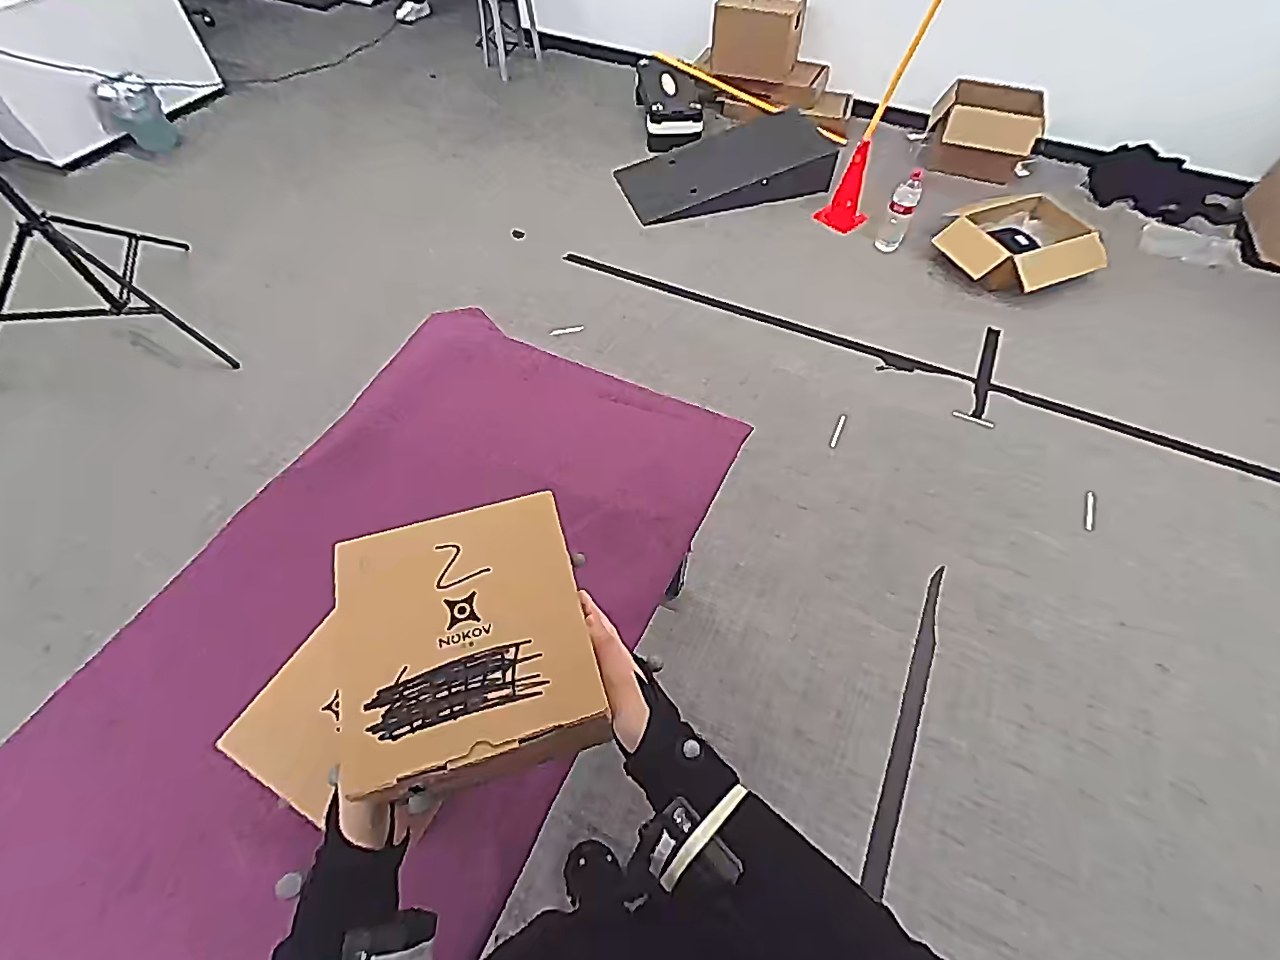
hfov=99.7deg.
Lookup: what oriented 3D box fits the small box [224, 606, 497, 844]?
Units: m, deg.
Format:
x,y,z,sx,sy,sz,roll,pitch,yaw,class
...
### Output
x,y,z,sx,sy,sz,roll,pitch,yaw,class
-0.289,0.275,0.602,0.179,0.176,0.168,24,60,15,small box
